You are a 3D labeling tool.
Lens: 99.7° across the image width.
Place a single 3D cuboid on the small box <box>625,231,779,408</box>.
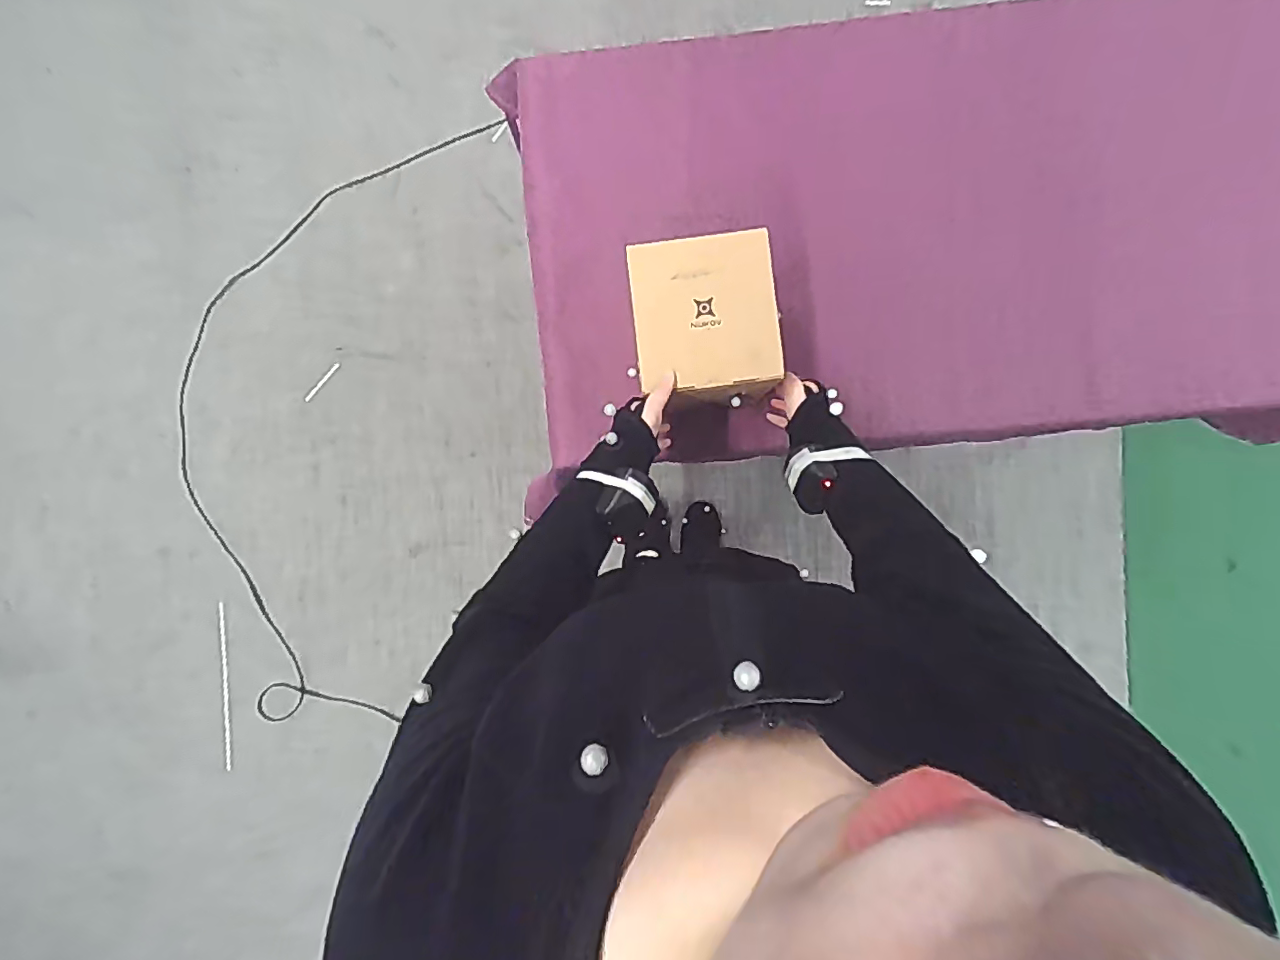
[{"bbox_3d":[0.074,-0.192,0.700,0.168,0.176,0.179,-6,89,1],"label":"small box"}]
